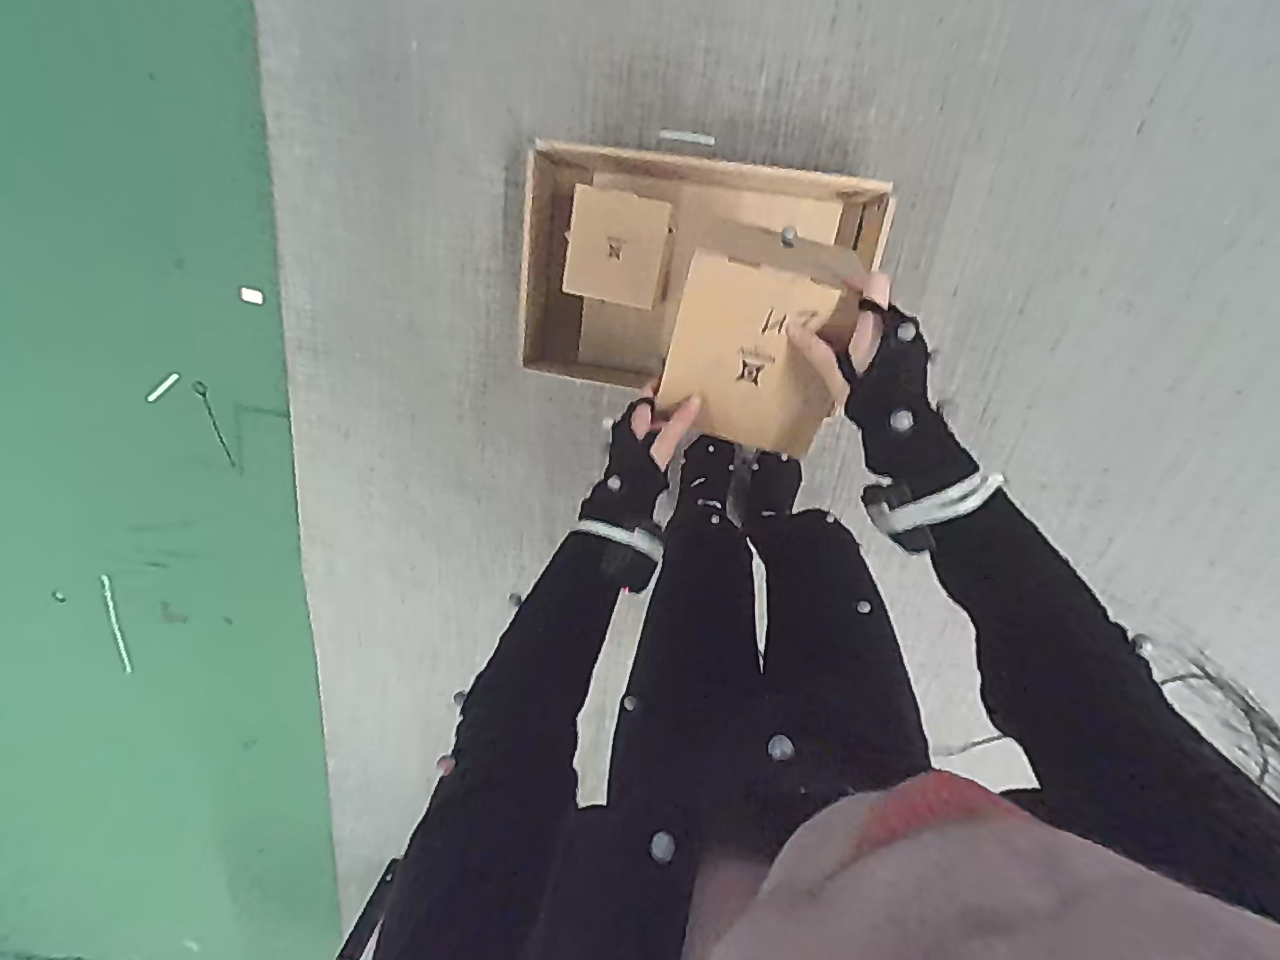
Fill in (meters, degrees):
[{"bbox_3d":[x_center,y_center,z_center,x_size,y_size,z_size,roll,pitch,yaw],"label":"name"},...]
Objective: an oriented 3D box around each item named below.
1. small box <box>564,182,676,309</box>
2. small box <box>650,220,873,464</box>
[{"bbox_3d":[-0.030,-0.428,1.004,0.168,0.176,0.179,13,111,2],"label":"small box"},{"bbox_3d":[0.120,-0.150,0.570,0.168,0.176,0.179,16,128,2],"label":"small box"}]
